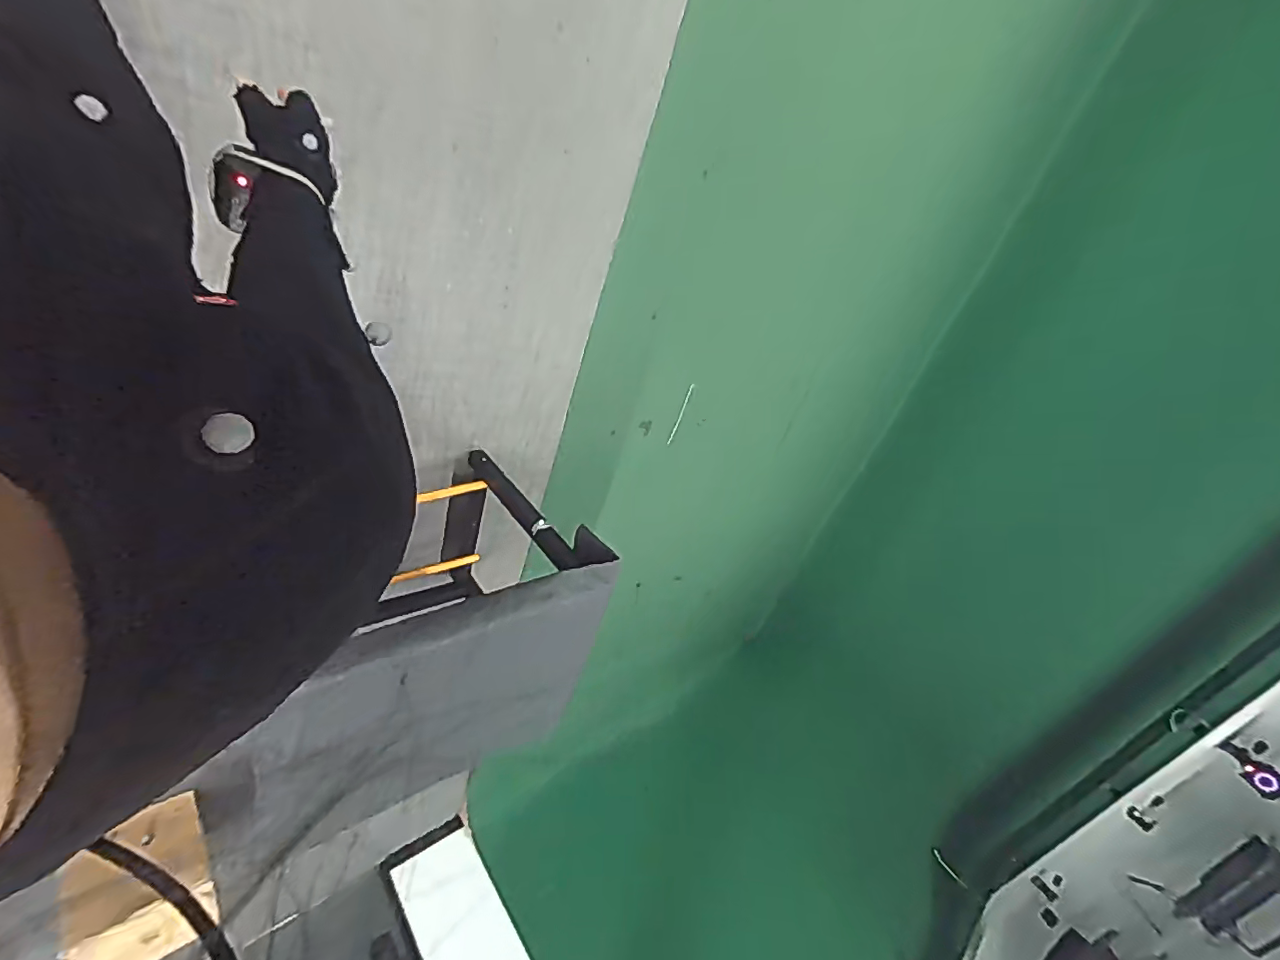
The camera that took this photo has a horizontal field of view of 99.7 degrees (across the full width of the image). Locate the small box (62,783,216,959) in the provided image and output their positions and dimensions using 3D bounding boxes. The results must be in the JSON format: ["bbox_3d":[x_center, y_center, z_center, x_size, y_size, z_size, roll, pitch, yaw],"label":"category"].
[{"bbox_3d":[-0.829,0.653,0.903,0.168,0.176,0.179,-11,132,-42],"label":"small box"}]
